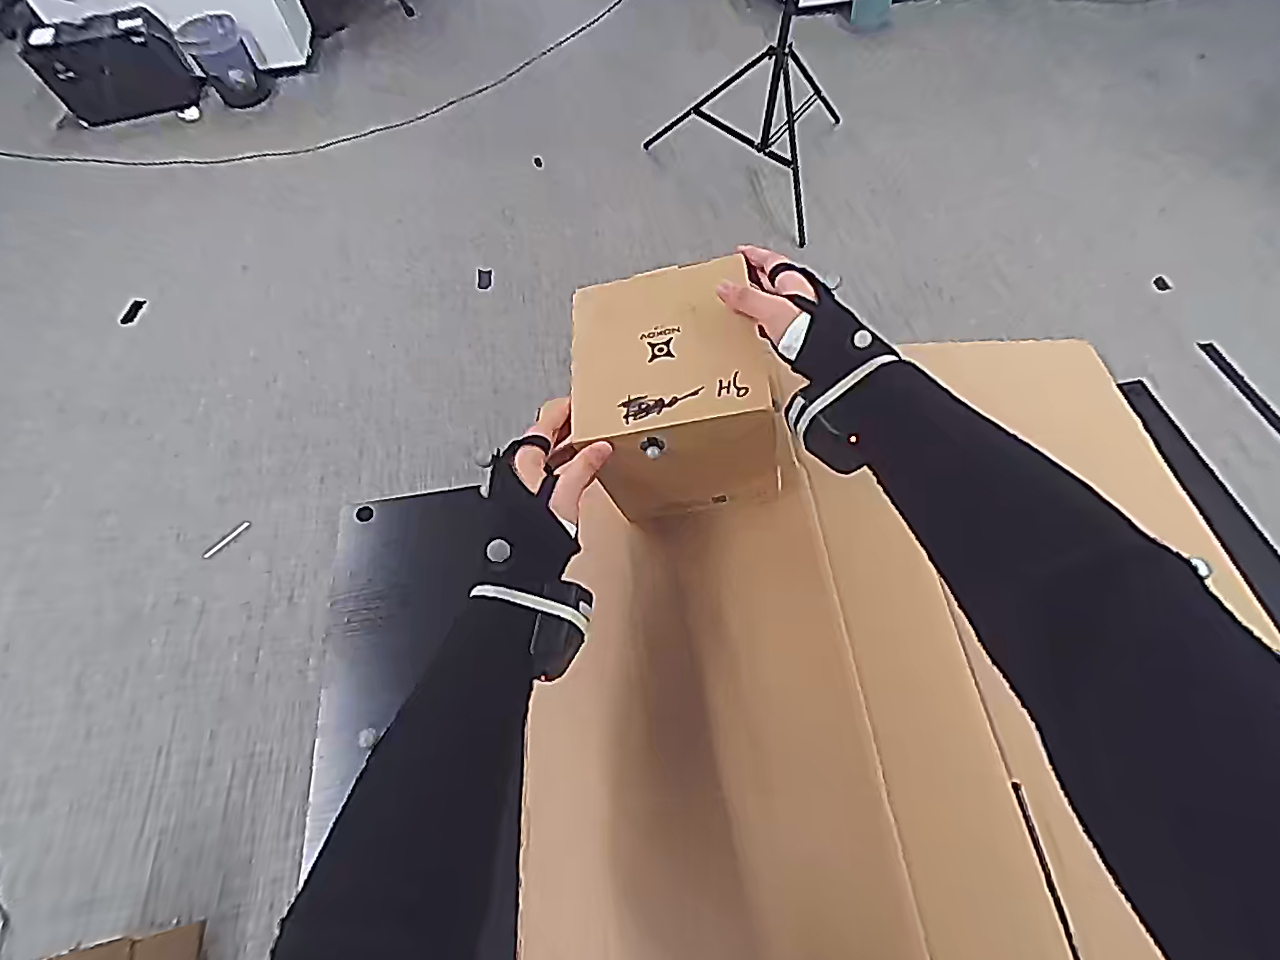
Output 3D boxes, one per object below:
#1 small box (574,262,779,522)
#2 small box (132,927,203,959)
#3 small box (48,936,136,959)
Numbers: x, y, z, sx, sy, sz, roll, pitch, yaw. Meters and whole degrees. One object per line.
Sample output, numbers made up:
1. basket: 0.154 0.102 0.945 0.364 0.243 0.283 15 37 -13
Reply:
1. small box: 0.042 -0.077 0.539 0.168 0.176 0.179 -10 60 12
2. small box: -0.961 0.966 1.005 0.168 0.176 0.179 -13 61 -5
3. small box: -0.969 0.881 0.866 0.168 0.176 0.179 -15 60 -8
